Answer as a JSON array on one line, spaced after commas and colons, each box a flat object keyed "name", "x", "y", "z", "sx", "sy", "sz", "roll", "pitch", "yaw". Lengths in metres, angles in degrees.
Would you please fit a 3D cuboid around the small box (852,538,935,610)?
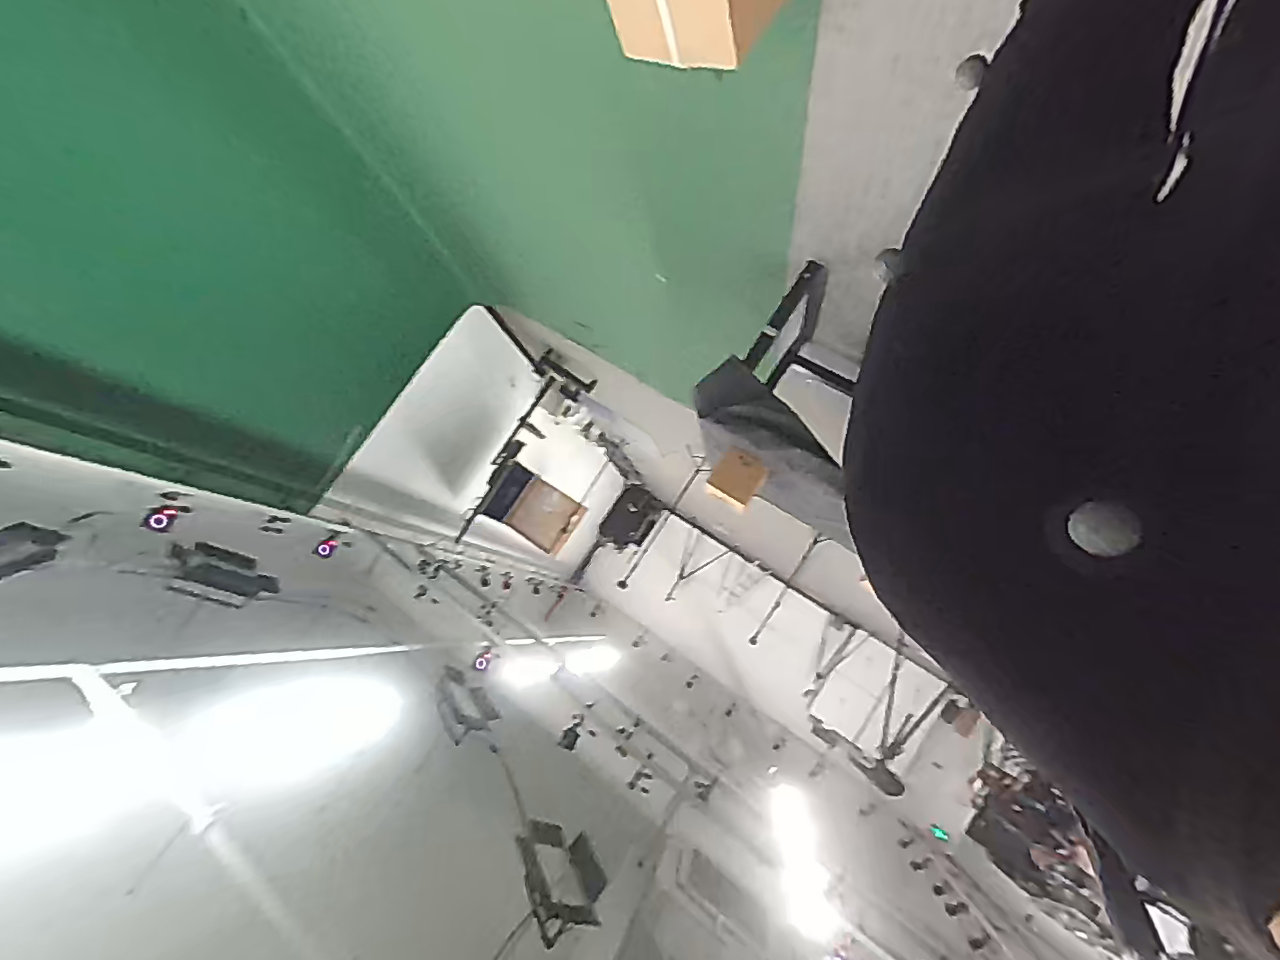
[{"name": "small box", "x": 0.845, "y": 0.314, "z": 1.807, "sx": 0.179, "sy": 0.176, "sz": 0.168, "roll": 33, "pitch": 172, "yaw": 16}]
